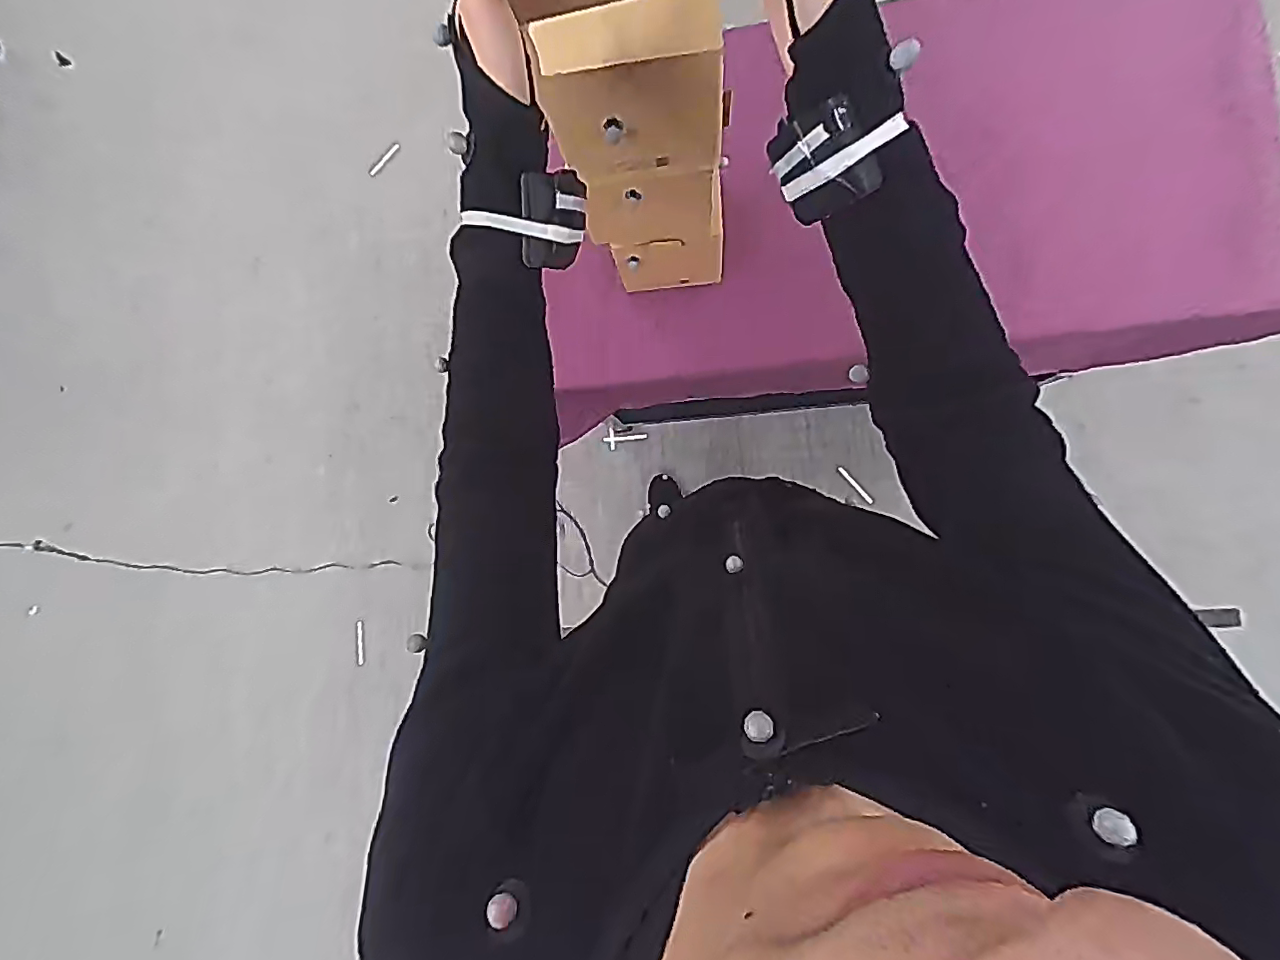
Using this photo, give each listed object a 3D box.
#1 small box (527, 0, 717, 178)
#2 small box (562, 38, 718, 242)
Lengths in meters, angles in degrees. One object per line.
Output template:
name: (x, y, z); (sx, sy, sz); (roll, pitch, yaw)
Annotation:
small box: (-0.009, -0.432, 0.543); (0.168, 0.176, 0.179); (-4, 86, 7)
small box: (0.009, -0.428, 0.705); (0.179, 0.176, 0.168); (3, 88, 7)
